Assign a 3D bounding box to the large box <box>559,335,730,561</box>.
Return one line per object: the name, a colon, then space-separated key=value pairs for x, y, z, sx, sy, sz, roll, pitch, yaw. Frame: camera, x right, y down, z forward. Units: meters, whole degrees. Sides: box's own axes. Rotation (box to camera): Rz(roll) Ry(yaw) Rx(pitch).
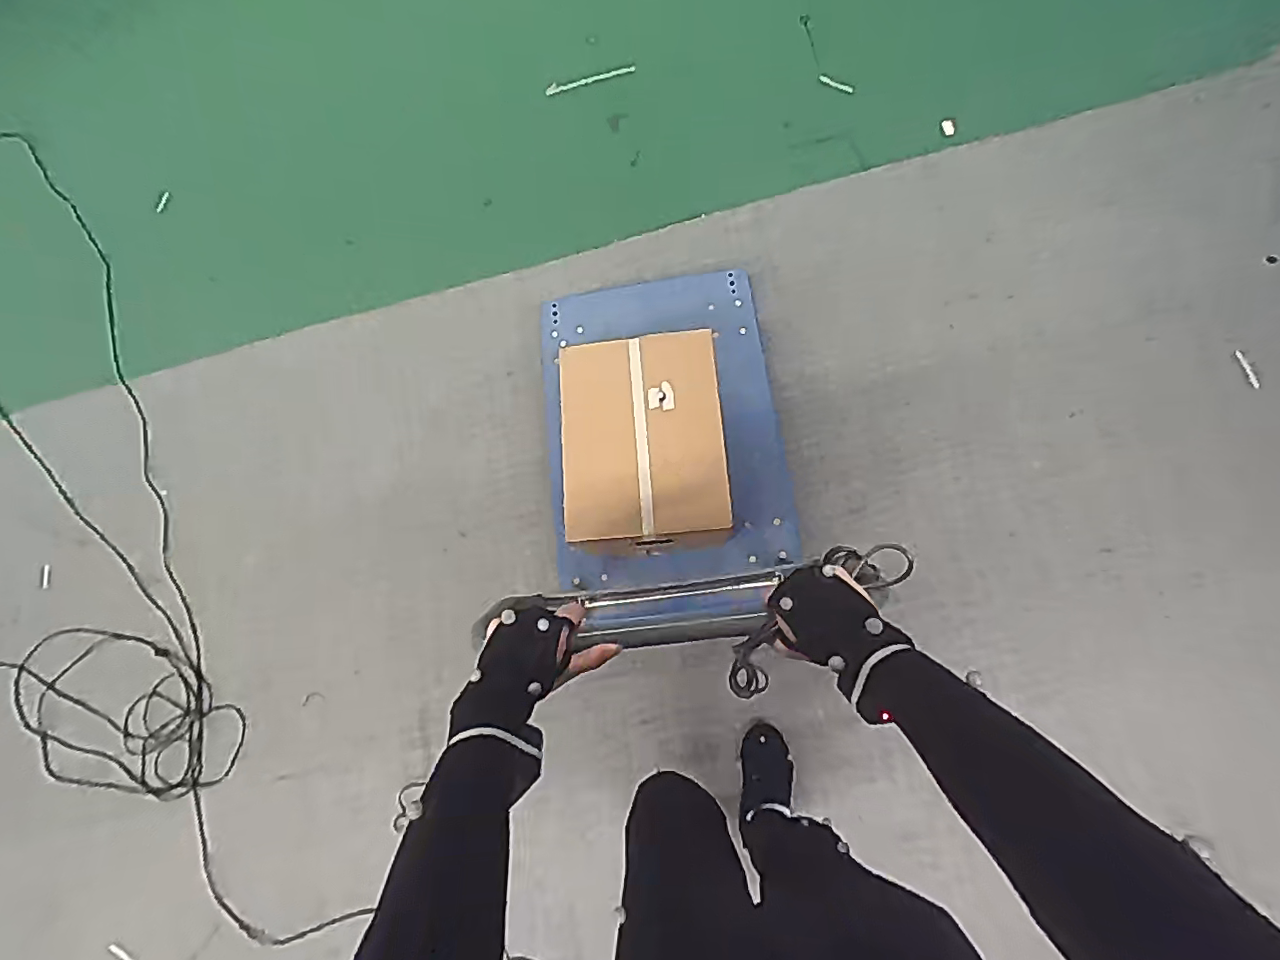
large box: x=0.018 y=-0.049 z=1.192 sx=0.320 sy=0.320 sz=0.408 roll=-5 pitch=75 yaw=5
